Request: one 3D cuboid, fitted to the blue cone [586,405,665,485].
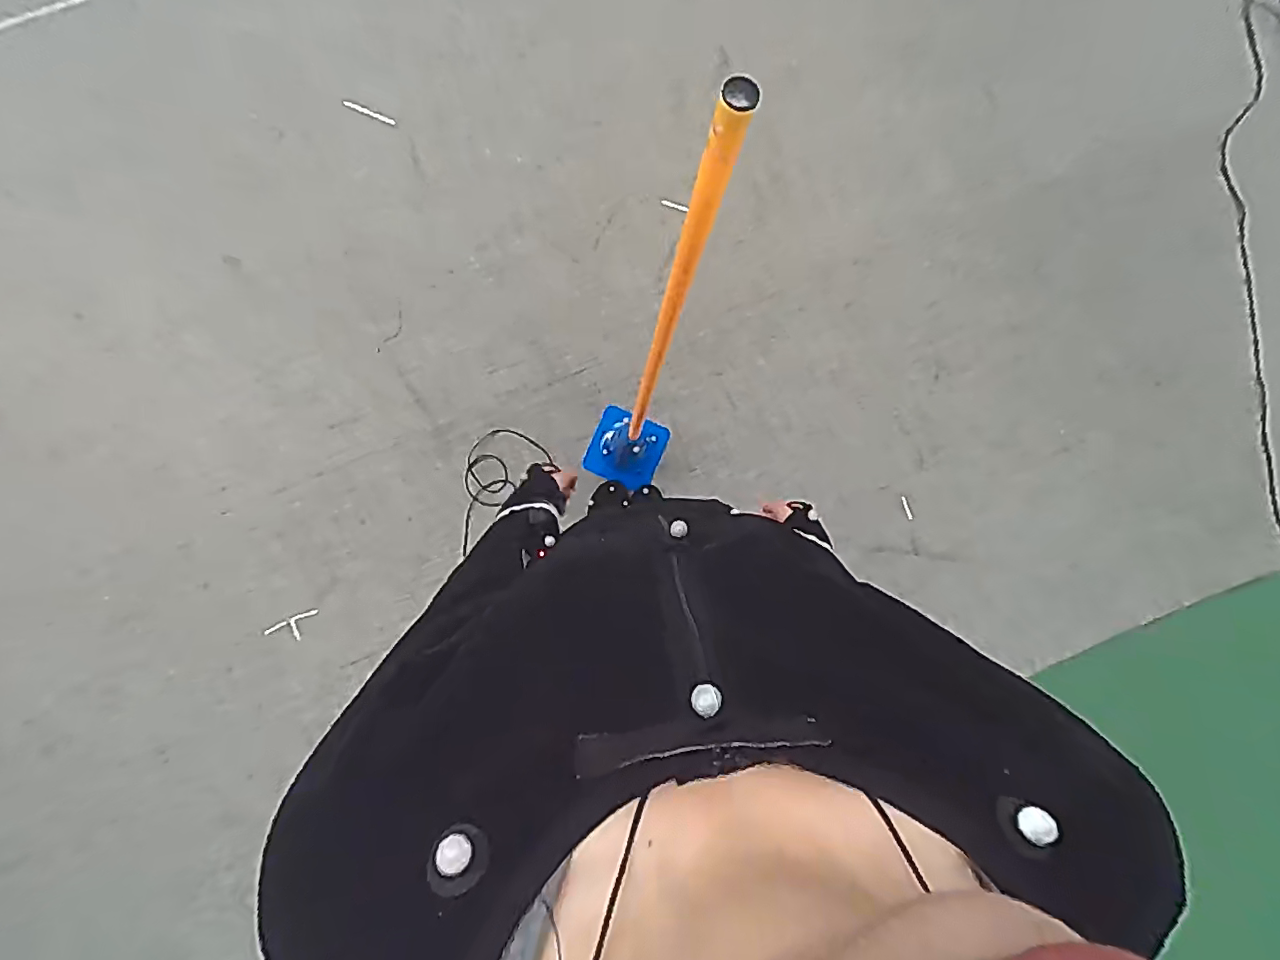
[{"bbox_3d":[-0.027,-0.104,1.329,0.192,0.380,0.193,22,86,-4],"label":"blue cone"}]
